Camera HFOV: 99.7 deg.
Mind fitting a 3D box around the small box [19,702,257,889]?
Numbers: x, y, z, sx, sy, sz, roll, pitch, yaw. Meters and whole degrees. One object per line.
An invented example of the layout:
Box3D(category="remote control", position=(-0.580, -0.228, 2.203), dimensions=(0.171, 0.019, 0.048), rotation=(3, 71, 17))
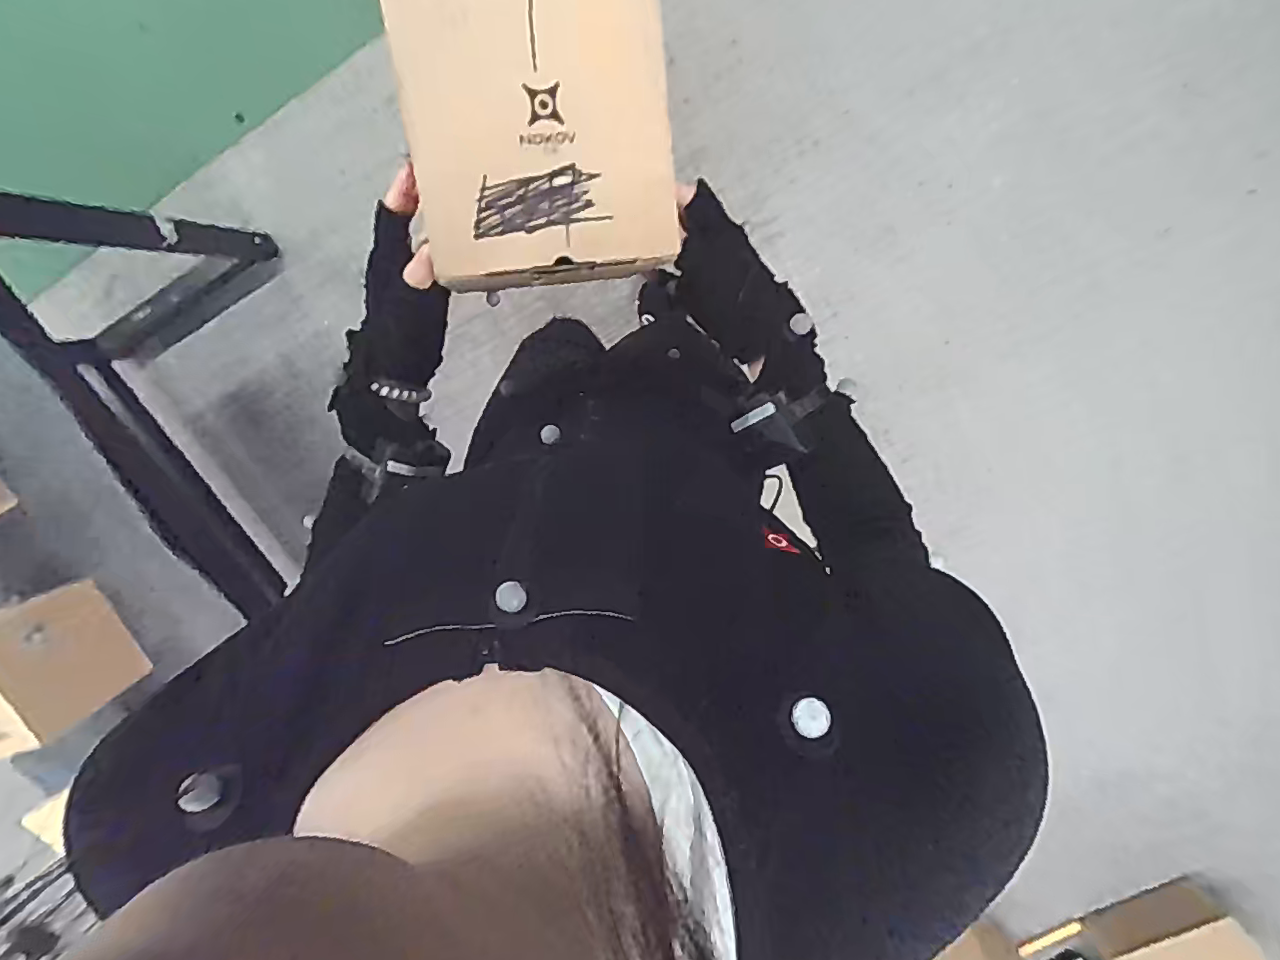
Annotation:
Box3D(category="small box", position=(-0.772, 0.482, 0.854), dimensions=(0.168, 0.176, 0.179), rotation=(-32, 105, 12))

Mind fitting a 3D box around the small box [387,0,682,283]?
Box3D(category="small box", position=(-0.076, -0.249, 0.408), dimensions=(0.168, 0.176, 0.179), rotation=(-10, 107, -12))
